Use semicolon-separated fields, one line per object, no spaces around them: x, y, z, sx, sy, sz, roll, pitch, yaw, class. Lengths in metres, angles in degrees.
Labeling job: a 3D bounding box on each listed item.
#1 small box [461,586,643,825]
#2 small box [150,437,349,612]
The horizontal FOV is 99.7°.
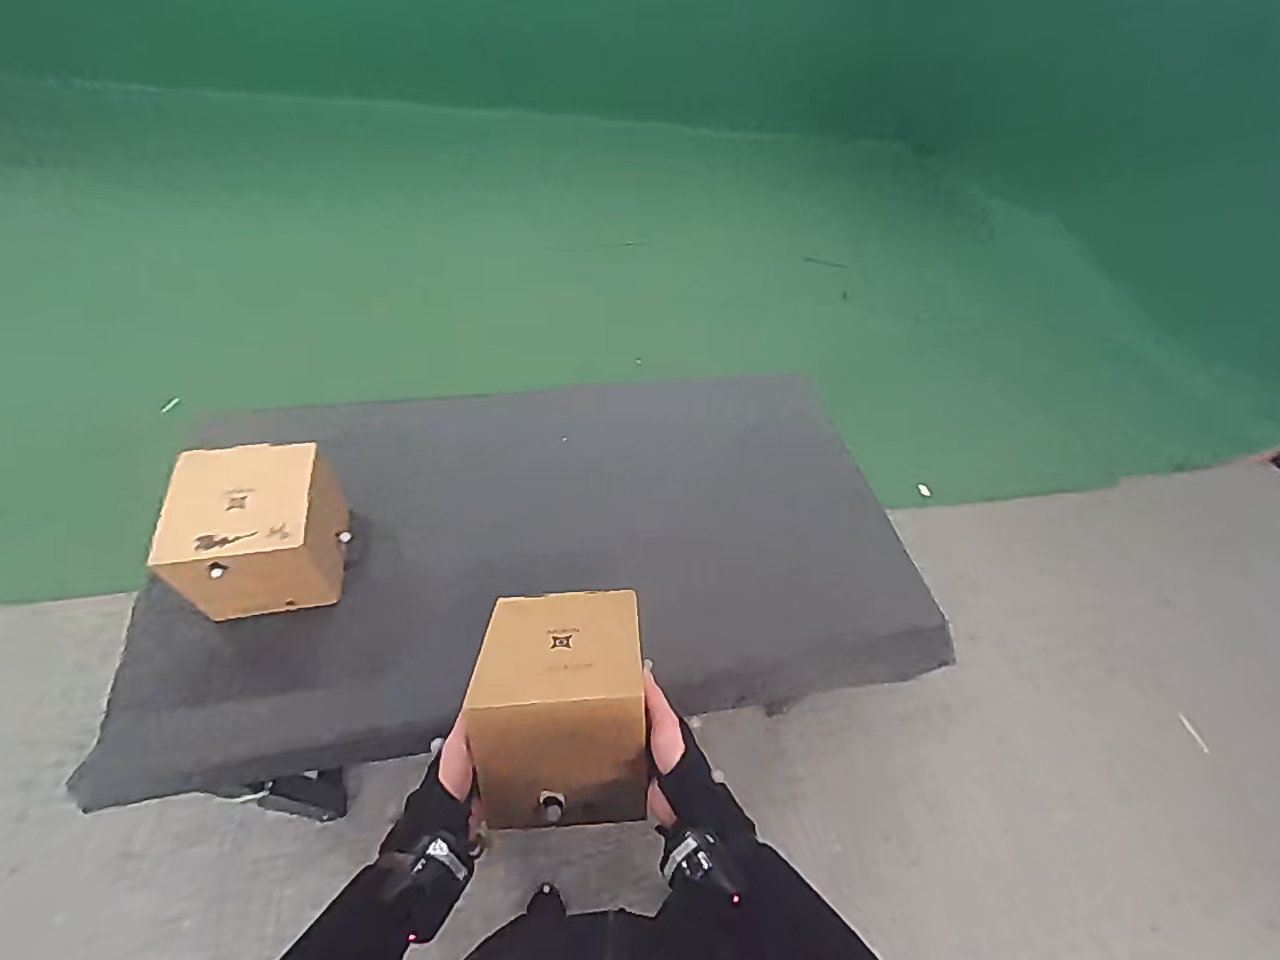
-0.084;0.238;0.595;0.168;0.176;0.179;-3;23;-3;small box
-0.526;0.063;0.762;0.168;0.176;0.179;-7;55;-14;small box
